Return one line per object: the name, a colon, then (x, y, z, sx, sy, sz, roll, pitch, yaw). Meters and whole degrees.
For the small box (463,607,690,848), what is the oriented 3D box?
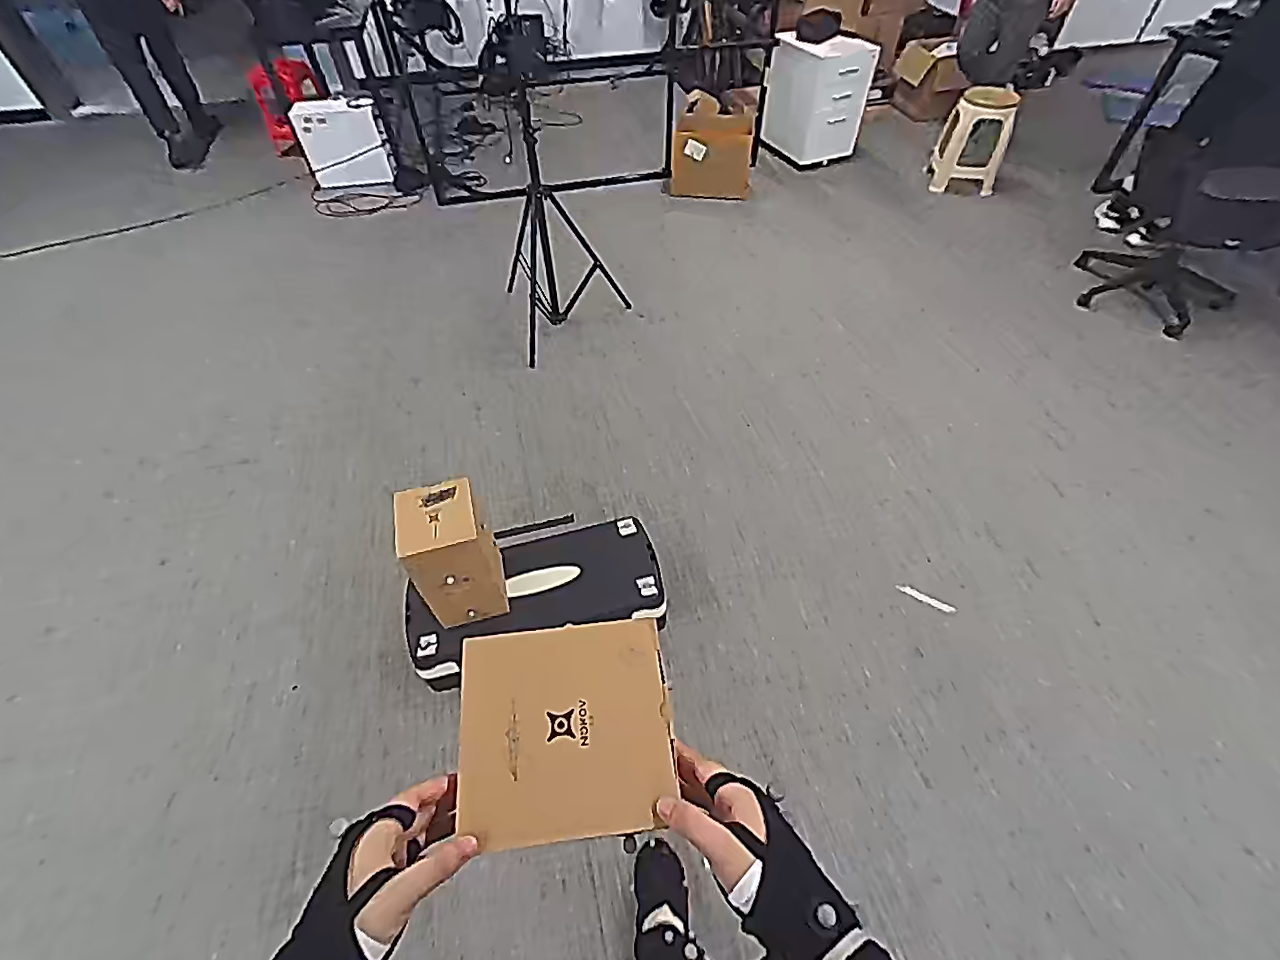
small box: (-0.059, 0.237, 0.518, 0.179, 0.176, 0.168, -8, 57, -5)

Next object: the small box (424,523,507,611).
small box: (-0.431, 0.239, 1.344, 0.168, 0.176, 0.179, -13, 52, -9)

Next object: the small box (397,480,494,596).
small box: (-0.436, 0.131, 1.220, 0.168, 0.176, 0.179, -14, 52, -10)
